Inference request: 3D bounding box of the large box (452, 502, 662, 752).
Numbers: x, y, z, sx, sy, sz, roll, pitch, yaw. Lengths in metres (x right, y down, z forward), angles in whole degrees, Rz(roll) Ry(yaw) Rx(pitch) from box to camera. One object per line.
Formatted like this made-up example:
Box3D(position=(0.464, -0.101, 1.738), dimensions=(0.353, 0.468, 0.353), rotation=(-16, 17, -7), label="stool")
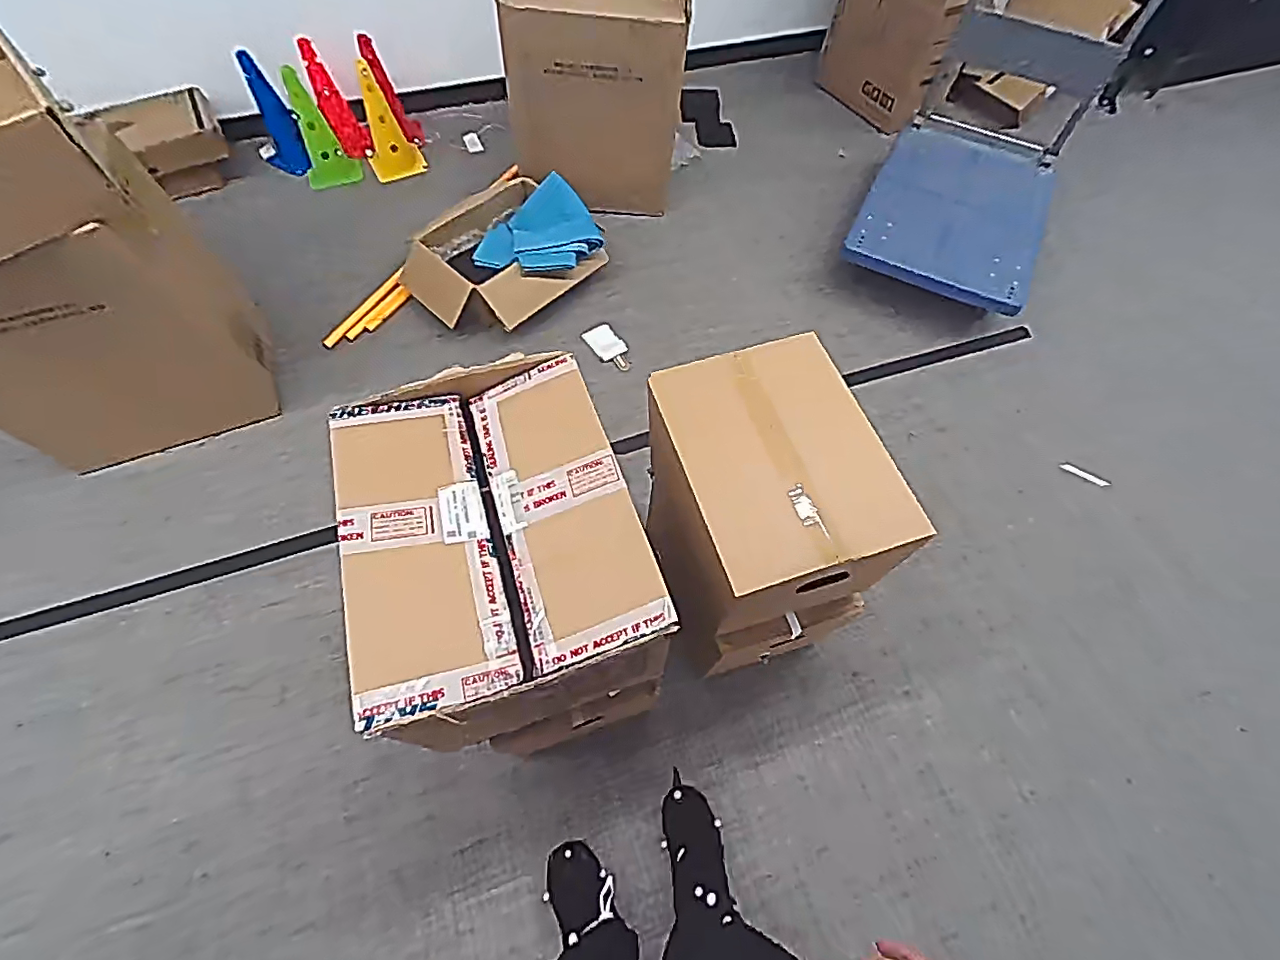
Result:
Box3D(position=(-0.178, 0.322, 1.172), dimensions=(0.320, 0.320, 0.408), rotation=(-18, 64, -10), label="large box")
